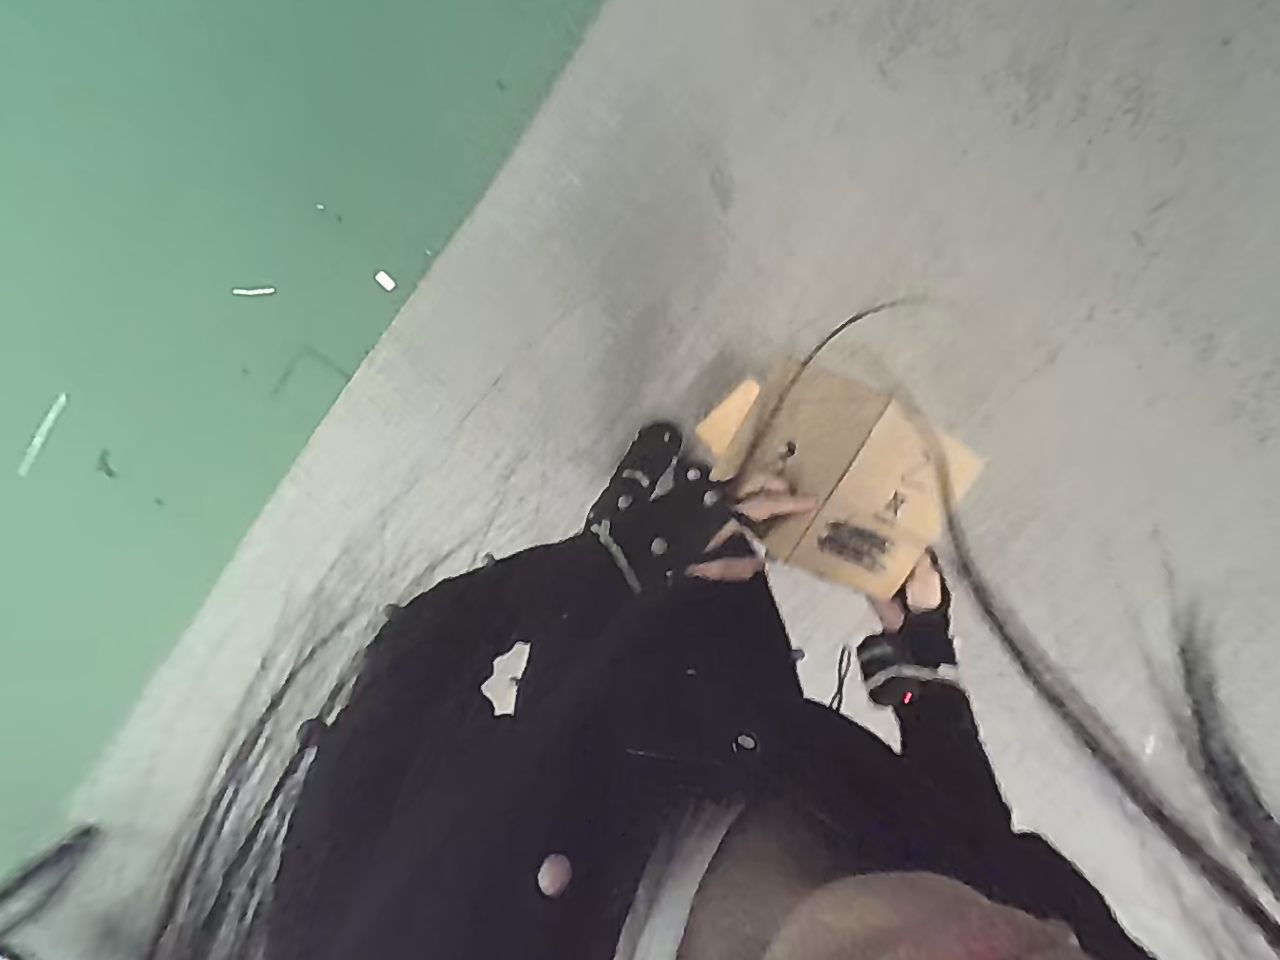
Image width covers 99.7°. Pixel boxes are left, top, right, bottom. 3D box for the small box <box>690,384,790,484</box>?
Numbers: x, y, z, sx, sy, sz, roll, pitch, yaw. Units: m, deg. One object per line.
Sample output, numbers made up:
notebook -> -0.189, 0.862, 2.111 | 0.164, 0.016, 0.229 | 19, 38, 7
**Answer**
small box -> 0.236, -0.120, 1.330 | 0.179, 0.176, 0.168 | -43, 94, 10
